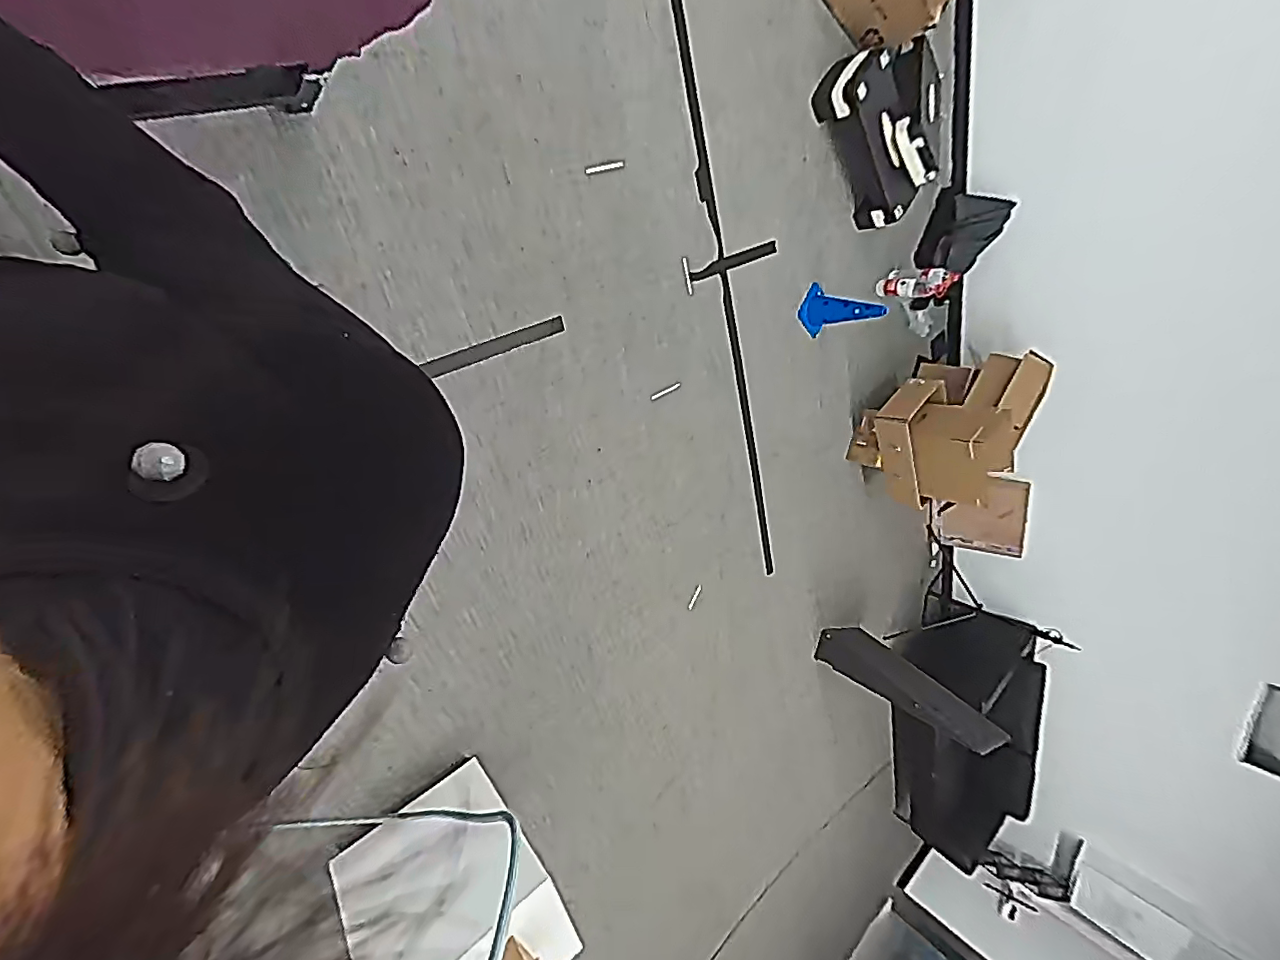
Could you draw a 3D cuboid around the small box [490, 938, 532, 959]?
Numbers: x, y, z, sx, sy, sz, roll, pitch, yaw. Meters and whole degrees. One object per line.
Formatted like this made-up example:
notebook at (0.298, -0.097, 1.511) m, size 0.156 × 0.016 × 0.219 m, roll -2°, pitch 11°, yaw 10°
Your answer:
small box at (-0.348, 1.381, 1.429) m, size 0.179 × 0.176 × 0.168 m, roll -35°, pitch 123°, yaw -25°
